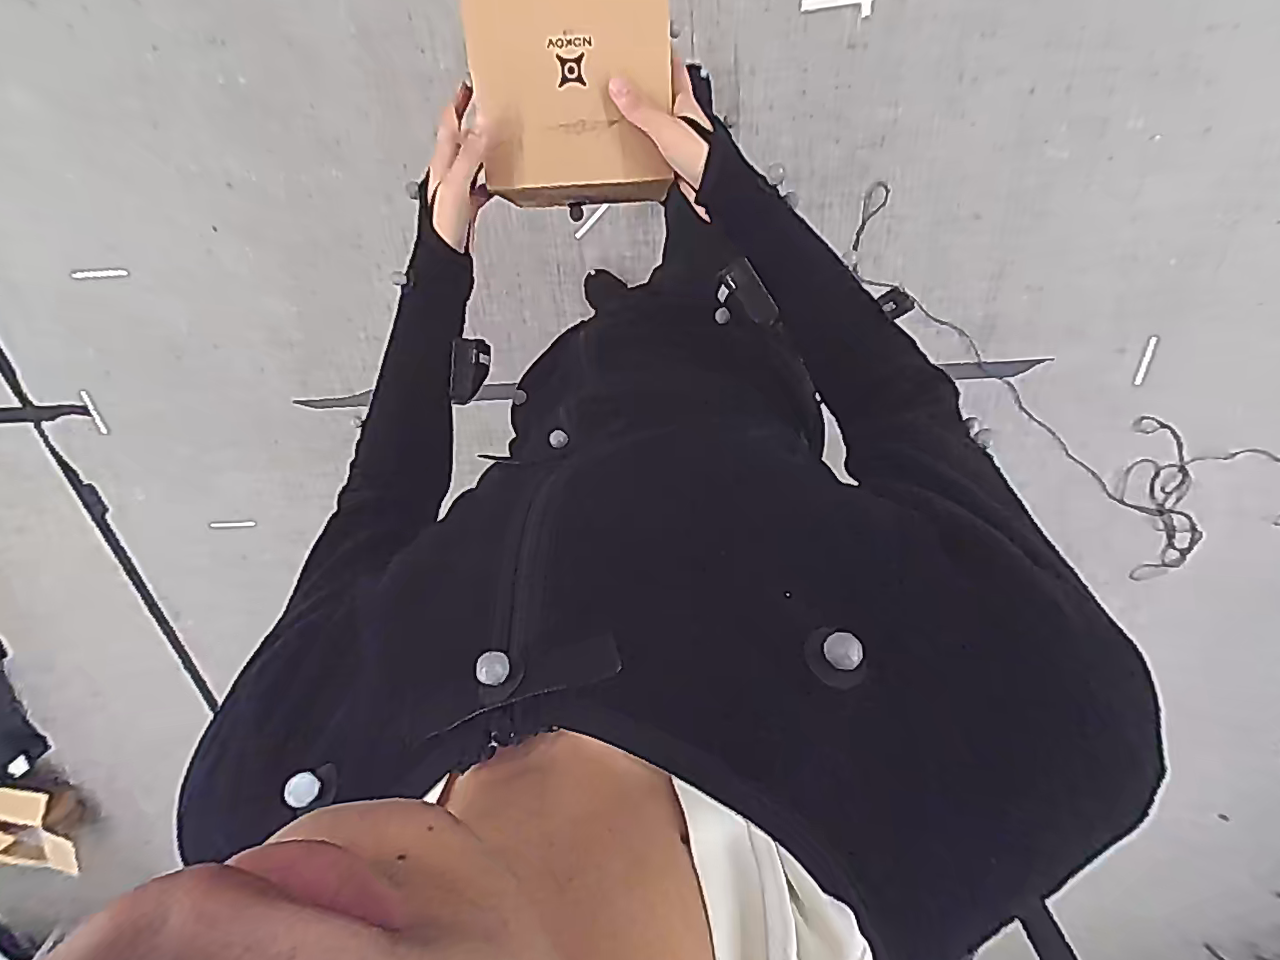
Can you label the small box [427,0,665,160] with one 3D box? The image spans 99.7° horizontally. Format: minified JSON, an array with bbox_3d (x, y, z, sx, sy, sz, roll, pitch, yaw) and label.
[{"bbox_3d":[-0.069,-0.381,0.442,0.168,0.176,0.179,-3,112,0],"label":"small box"}]
